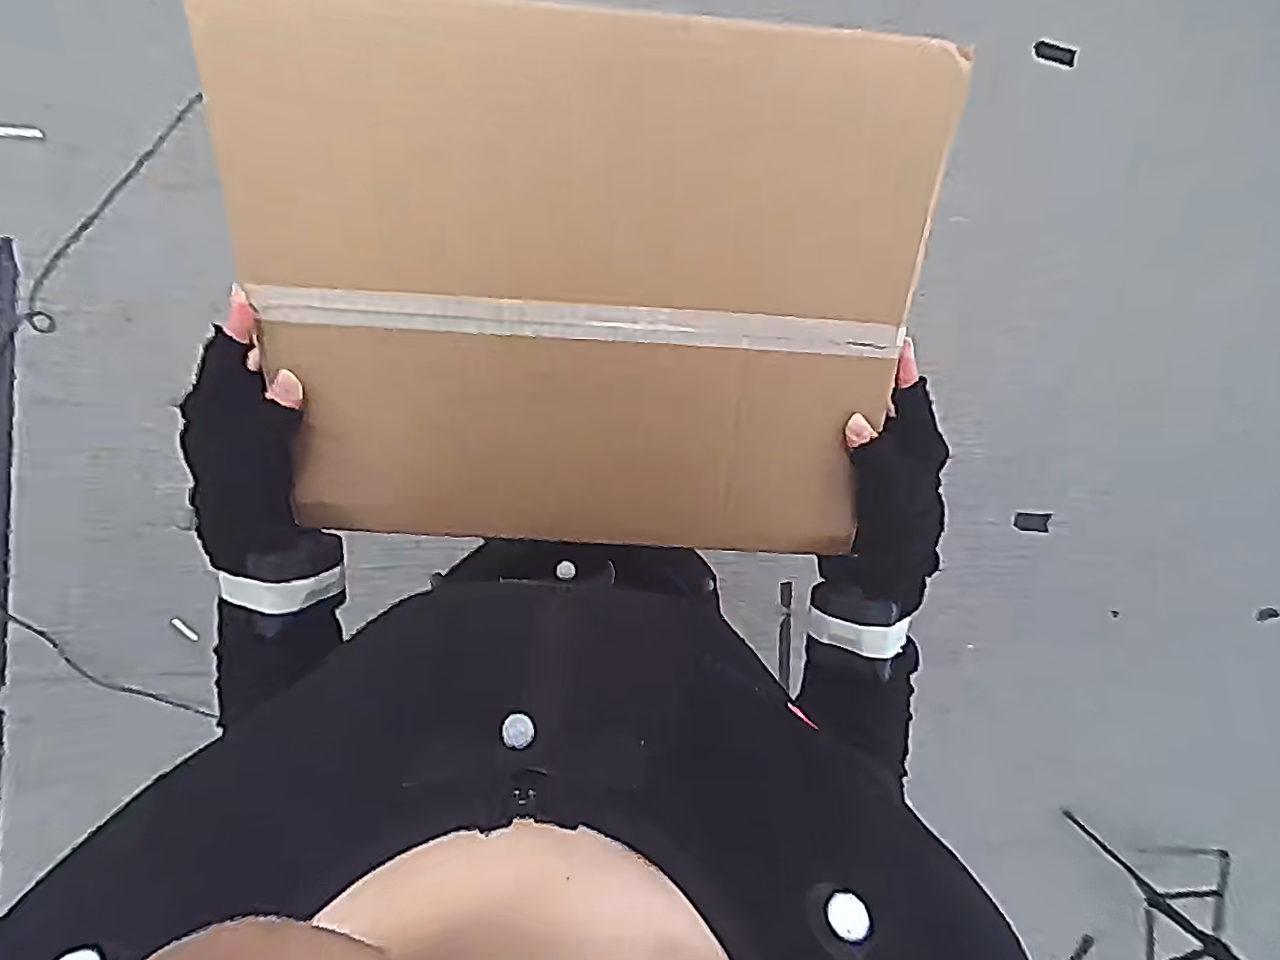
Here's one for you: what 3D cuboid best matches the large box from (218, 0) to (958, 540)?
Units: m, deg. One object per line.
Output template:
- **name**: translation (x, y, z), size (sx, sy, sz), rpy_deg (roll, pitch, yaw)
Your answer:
- **large box**: translation (-0.036, -0.162, 0.481), size (0.408, 0.320, 0.320), rpy_deg (4, 114, -3)
